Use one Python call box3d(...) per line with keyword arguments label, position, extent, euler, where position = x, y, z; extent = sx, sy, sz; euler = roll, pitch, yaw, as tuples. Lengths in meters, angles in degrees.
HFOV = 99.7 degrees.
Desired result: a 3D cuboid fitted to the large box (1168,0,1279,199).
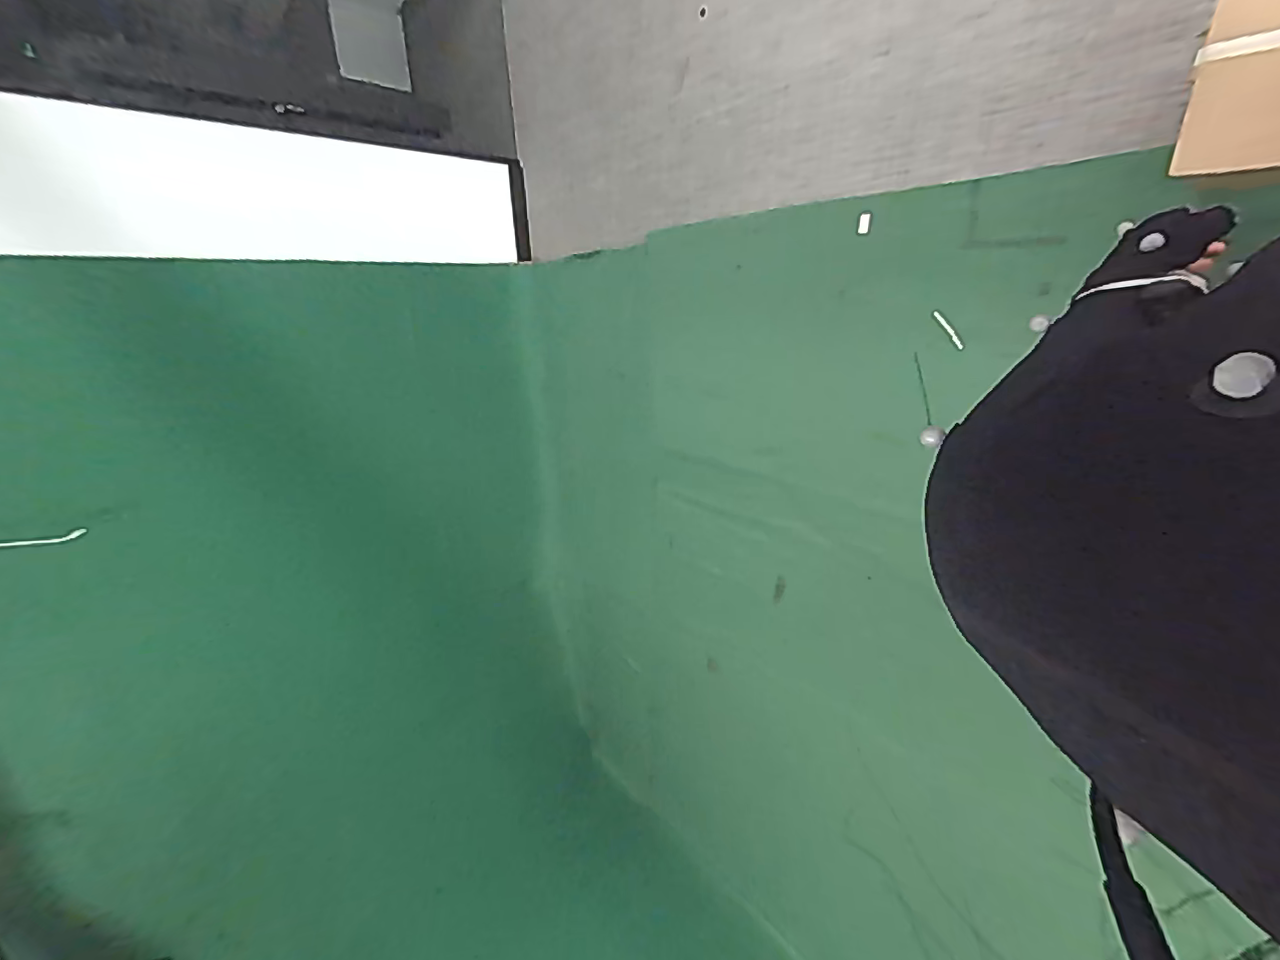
box3d(label="large box", position=(1.048, -0.588, 0.732), extent=(0.408, 0.320, 0.320), euler=(22, 120, 45))
